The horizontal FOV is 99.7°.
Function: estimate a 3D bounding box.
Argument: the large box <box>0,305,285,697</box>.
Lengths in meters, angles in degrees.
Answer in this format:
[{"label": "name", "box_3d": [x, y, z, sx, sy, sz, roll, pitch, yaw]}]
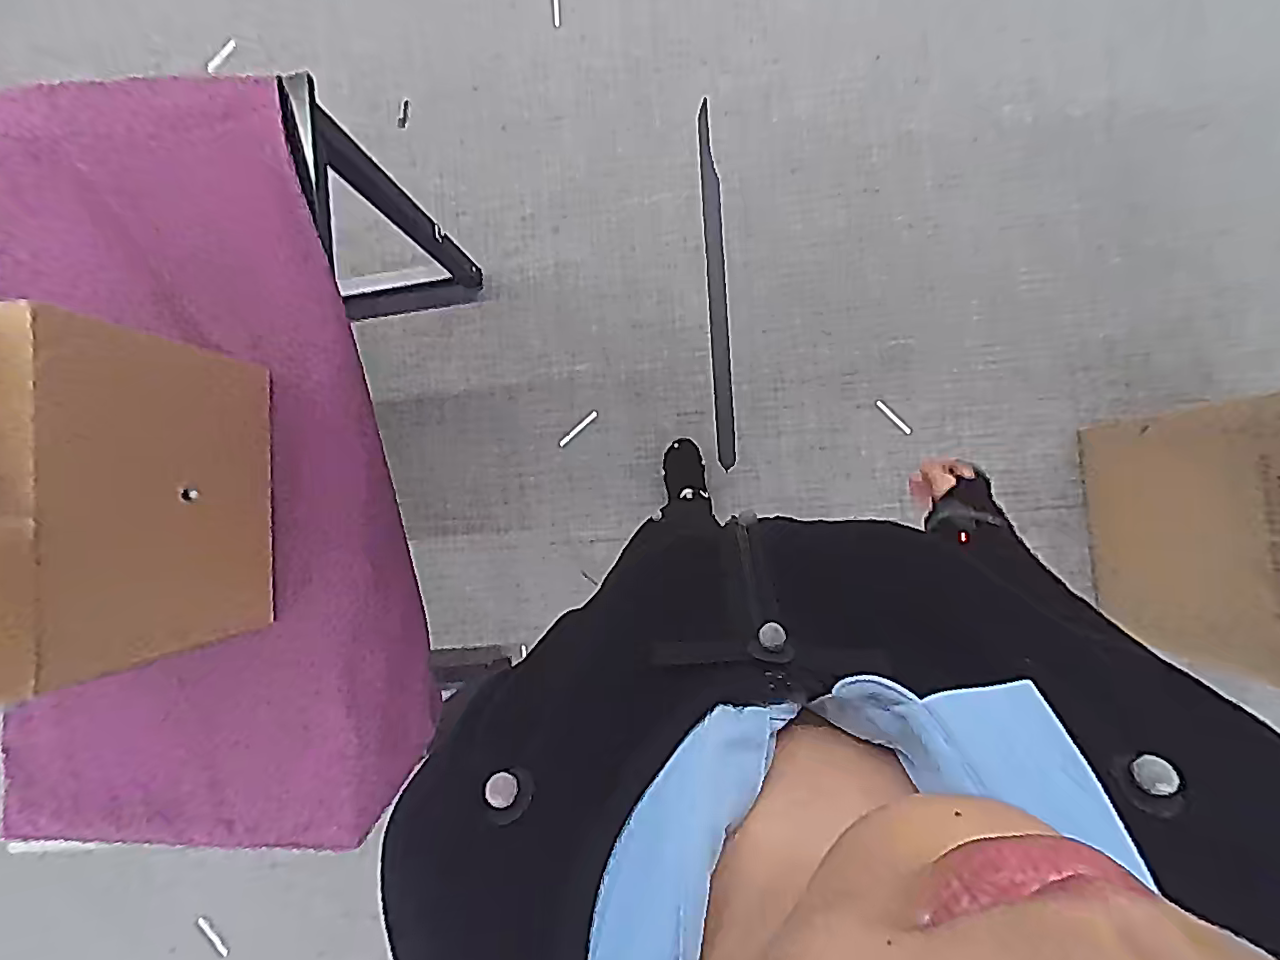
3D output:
[{"label": "large box", "box_3d": [-0.729, 0.030, 0.712, 0.320, 0.320, 0.408, -4, 89, 8]}]
